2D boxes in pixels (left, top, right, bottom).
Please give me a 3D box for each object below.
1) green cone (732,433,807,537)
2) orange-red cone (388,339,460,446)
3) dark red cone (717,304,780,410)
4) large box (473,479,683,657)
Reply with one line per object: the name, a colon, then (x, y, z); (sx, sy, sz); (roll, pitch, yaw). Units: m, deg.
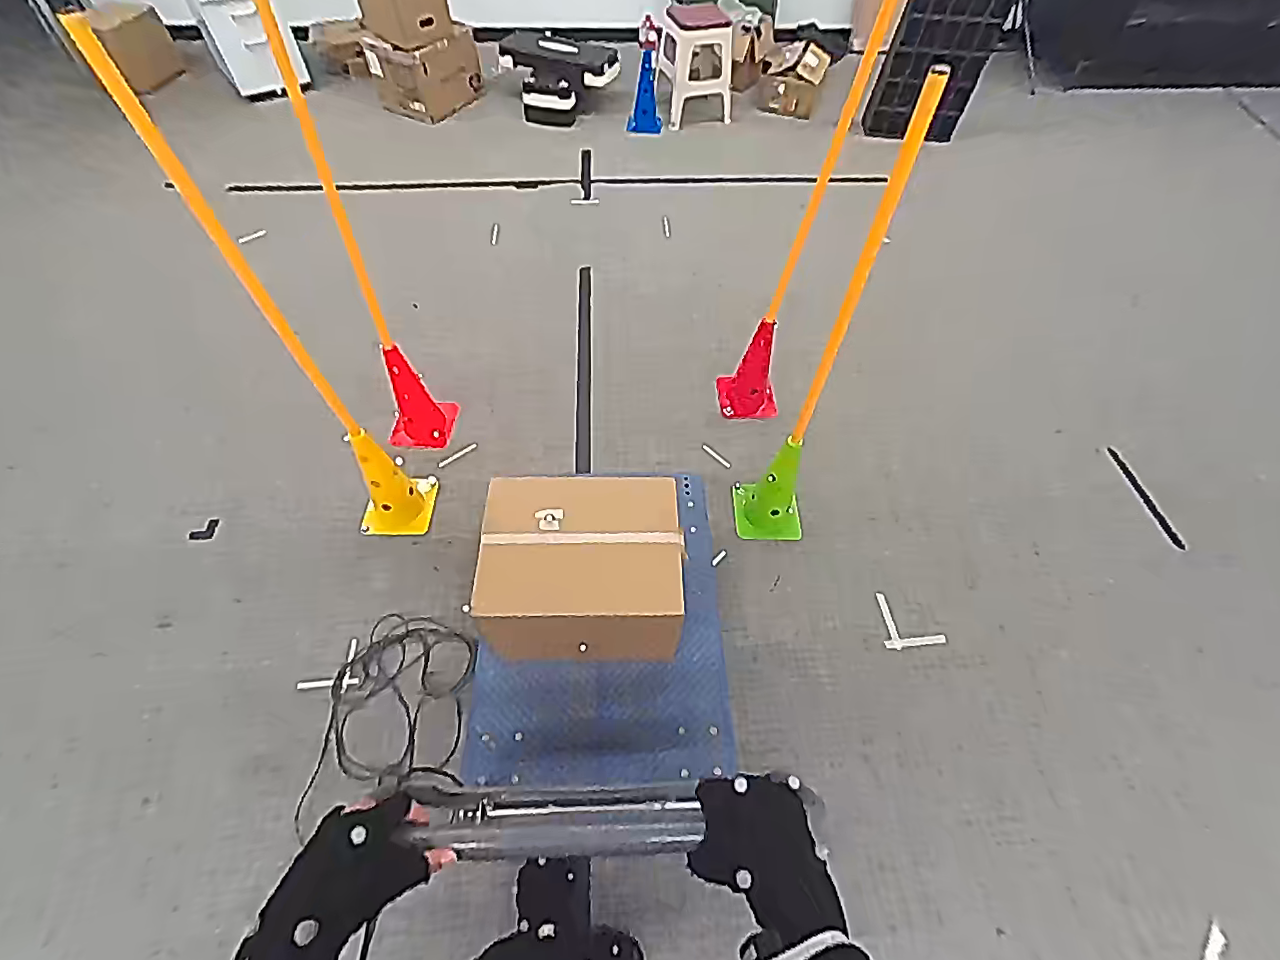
green cone: (0.403, -0.005, 1.559); (0.202, 0.368, 0.200); (2, 56, -2)
orange-red cone: (-0.727, -0.300, 1.719); (0.198, 0.360, 0.199); (5, 55, 0)
dark red cone: (0.397, -0.417, 1.815); (0.201, 0.394, 0.202); (-1, 56, -5)
large box: (-0.121, 0.208, 1.224); (0.408, 0.320, 0.320); (0, 56, -1)
